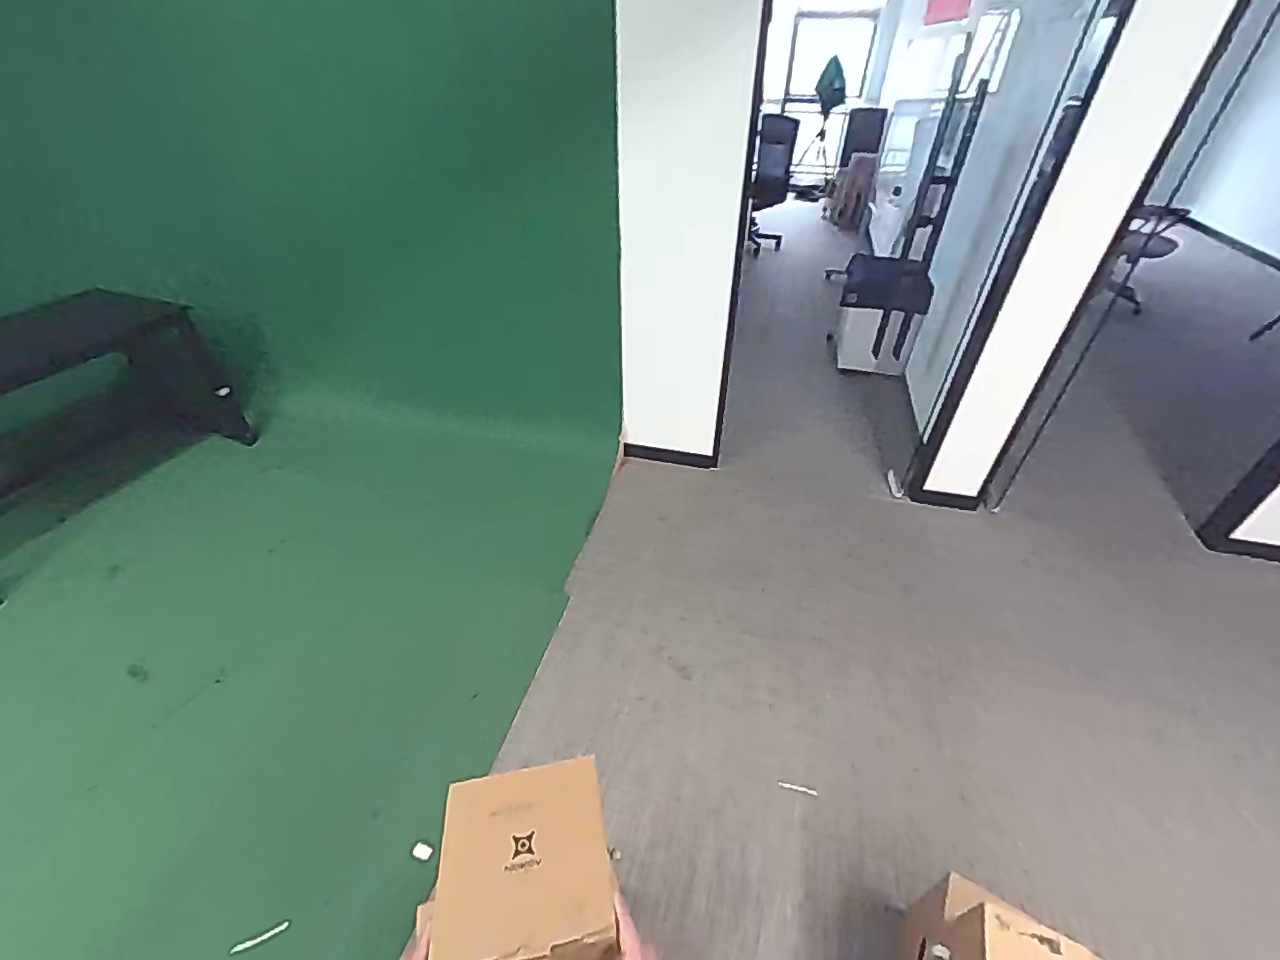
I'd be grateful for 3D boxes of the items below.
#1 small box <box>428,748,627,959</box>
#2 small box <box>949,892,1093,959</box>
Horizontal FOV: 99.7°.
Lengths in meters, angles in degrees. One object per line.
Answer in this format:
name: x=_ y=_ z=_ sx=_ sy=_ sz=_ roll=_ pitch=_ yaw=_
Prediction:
small box: x=-0.109 y=0.430 z=0.578 sx=0.168 sy=0.176 sz=0.179 roll=-8 pitch=29 yaw=-7
small box: x=0.652 y=0.871 z=0.935 sx=0.168 sy=0.176 sz=0.179 roll=17 pitch=44 yaw=19
